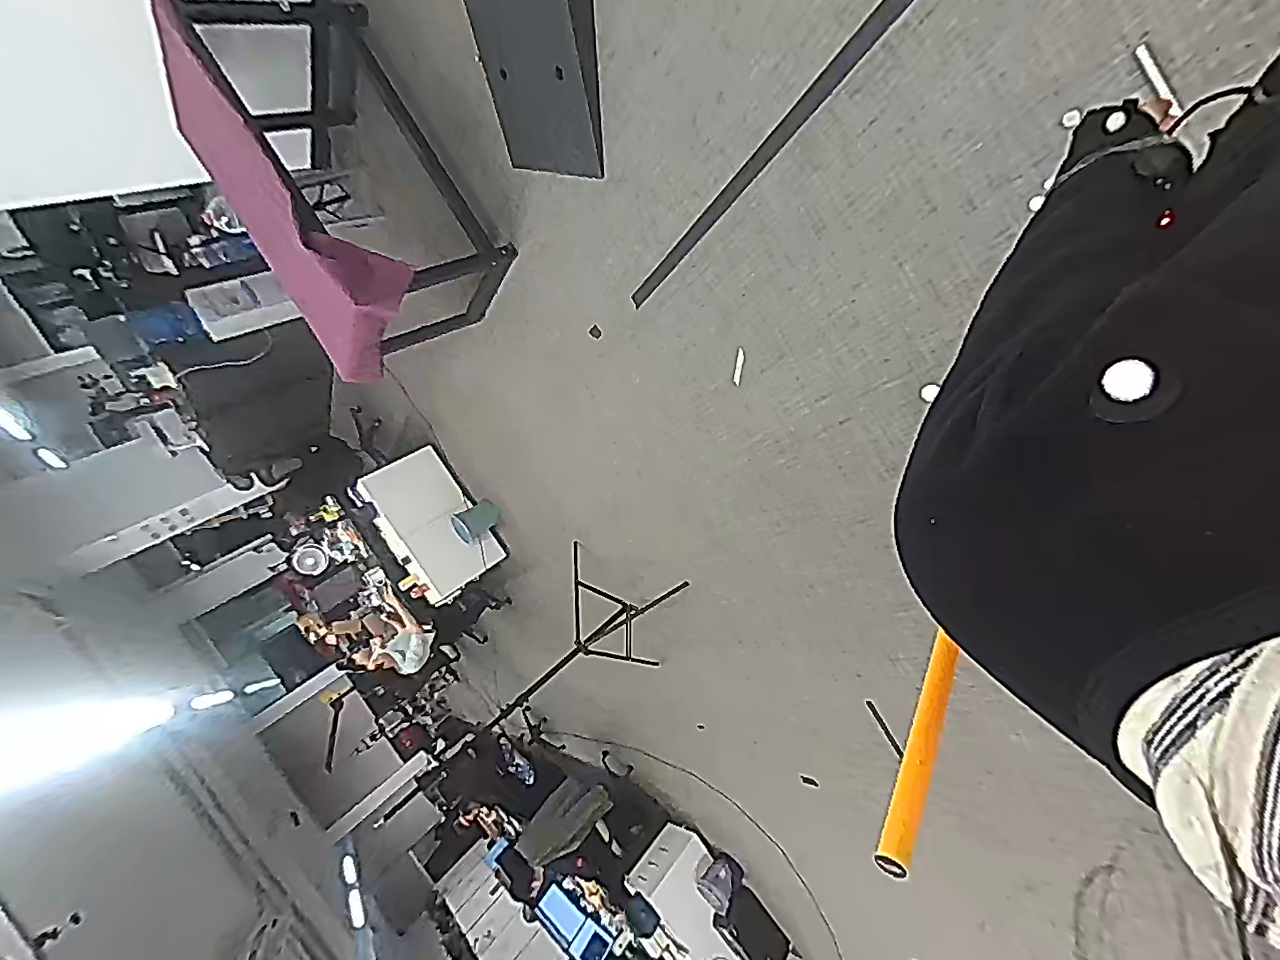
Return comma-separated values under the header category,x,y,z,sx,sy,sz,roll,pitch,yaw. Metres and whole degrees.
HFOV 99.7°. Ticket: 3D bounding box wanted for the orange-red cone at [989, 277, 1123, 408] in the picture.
category,x,y,z,sx,sy,sz,roll,pitch,yaw
orange-red cone,0.775,-0.230,1.068,0.198,0.360,0.199,-23,99,54
